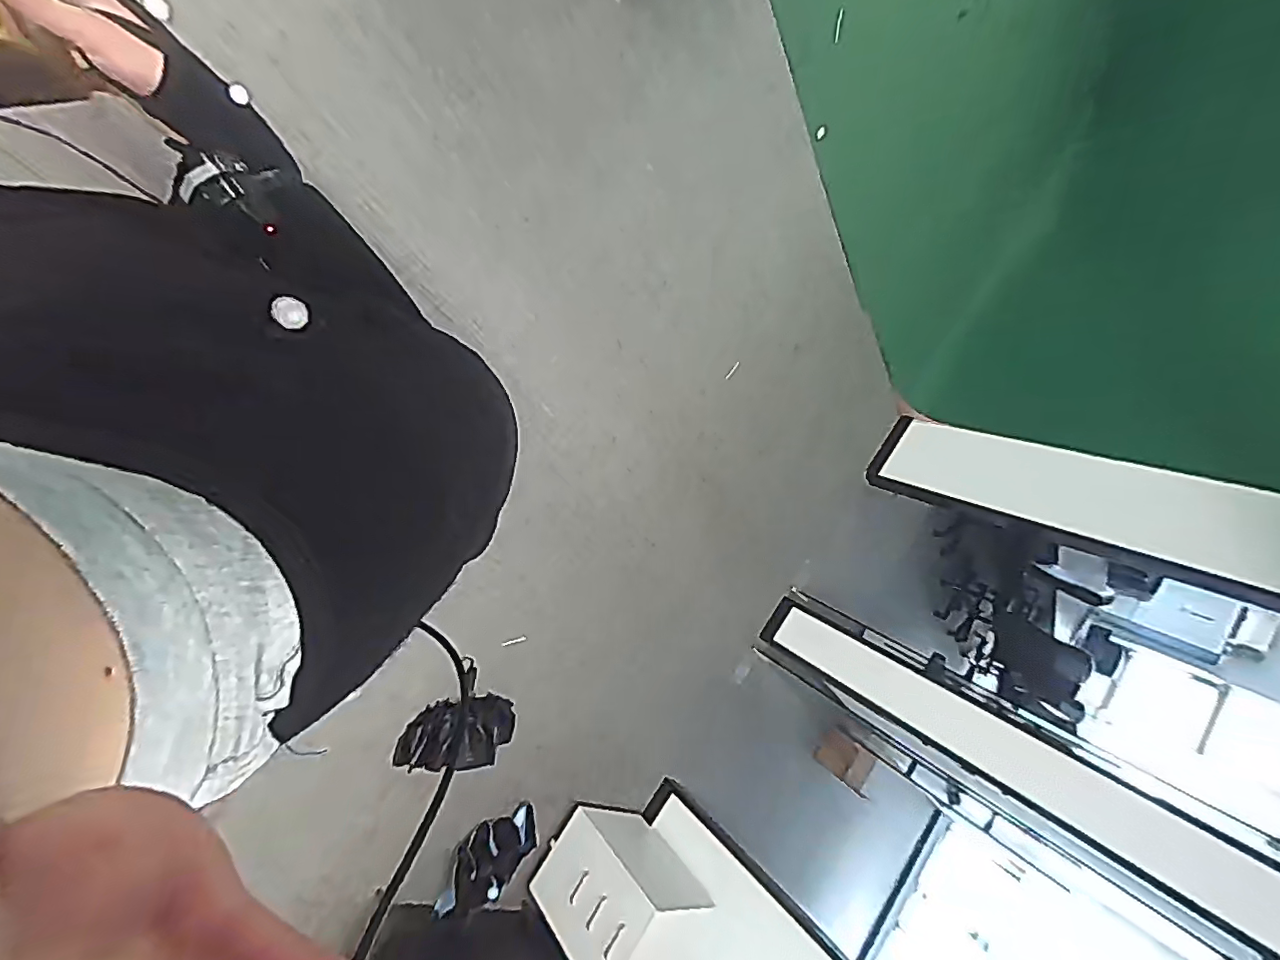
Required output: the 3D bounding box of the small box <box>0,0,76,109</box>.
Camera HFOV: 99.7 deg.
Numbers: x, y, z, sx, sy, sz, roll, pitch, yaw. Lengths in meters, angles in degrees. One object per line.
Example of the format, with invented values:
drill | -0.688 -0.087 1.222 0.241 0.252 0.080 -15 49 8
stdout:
small box | -0.472 -0.309 0.288 0.168 0.176 0.179 -24 120 -22
